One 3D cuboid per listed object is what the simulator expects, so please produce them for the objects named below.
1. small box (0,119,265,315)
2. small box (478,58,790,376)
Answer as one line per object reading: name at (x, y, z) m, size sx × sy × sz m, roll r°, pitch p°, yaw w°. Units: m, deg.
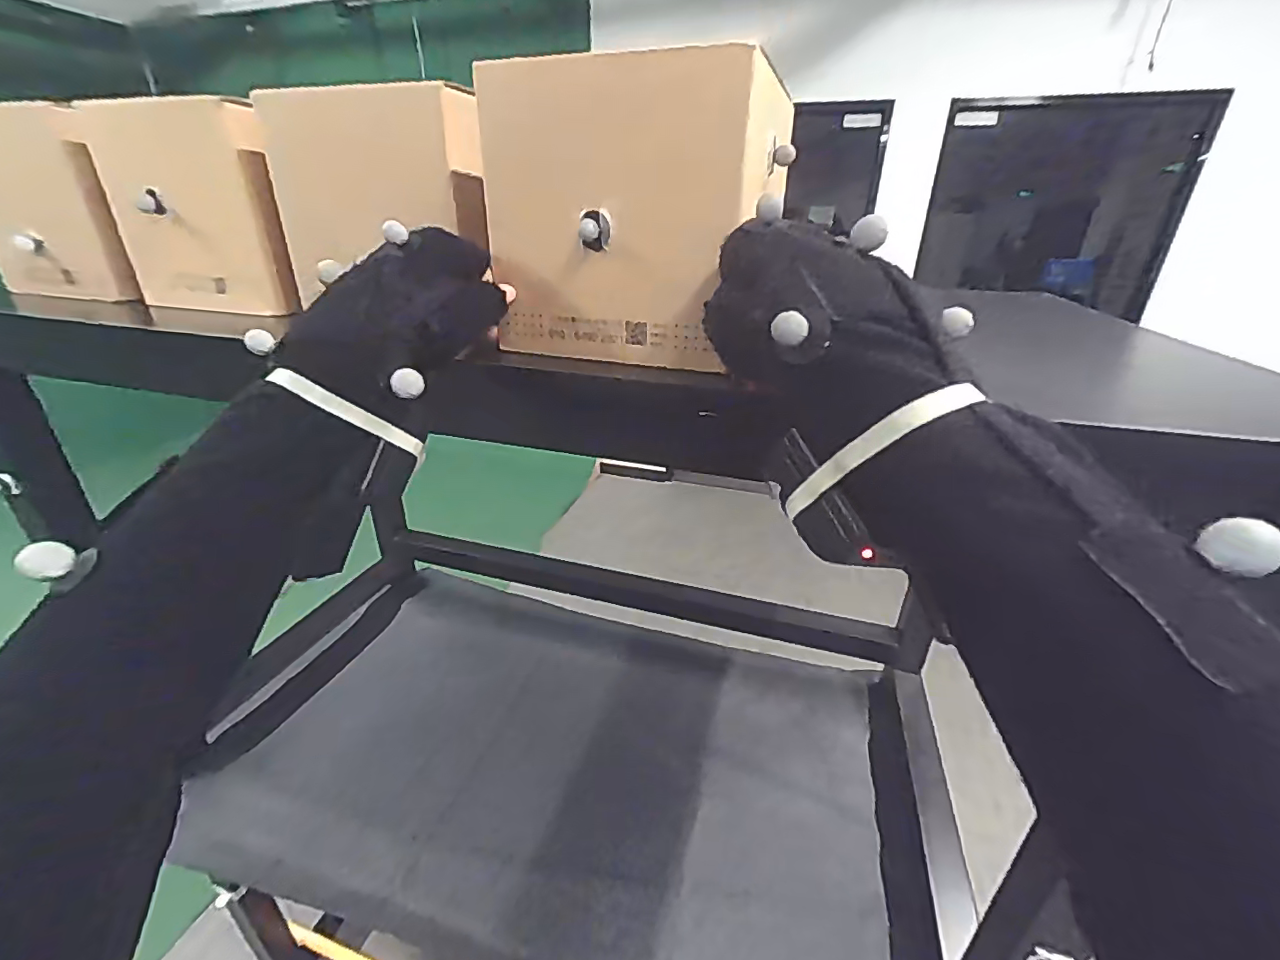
small box at (-0.559, -0.288, 0.599) m, size 0.168 × 0.176 × 0.179 m, roll 8°, pitch 28°, yaw 14°
small box at (0.008, -0.181, 0.400) m, size 0.168 × 0.176 × 0.179 m, roll 10°, pitch 27°, yaw 18°
